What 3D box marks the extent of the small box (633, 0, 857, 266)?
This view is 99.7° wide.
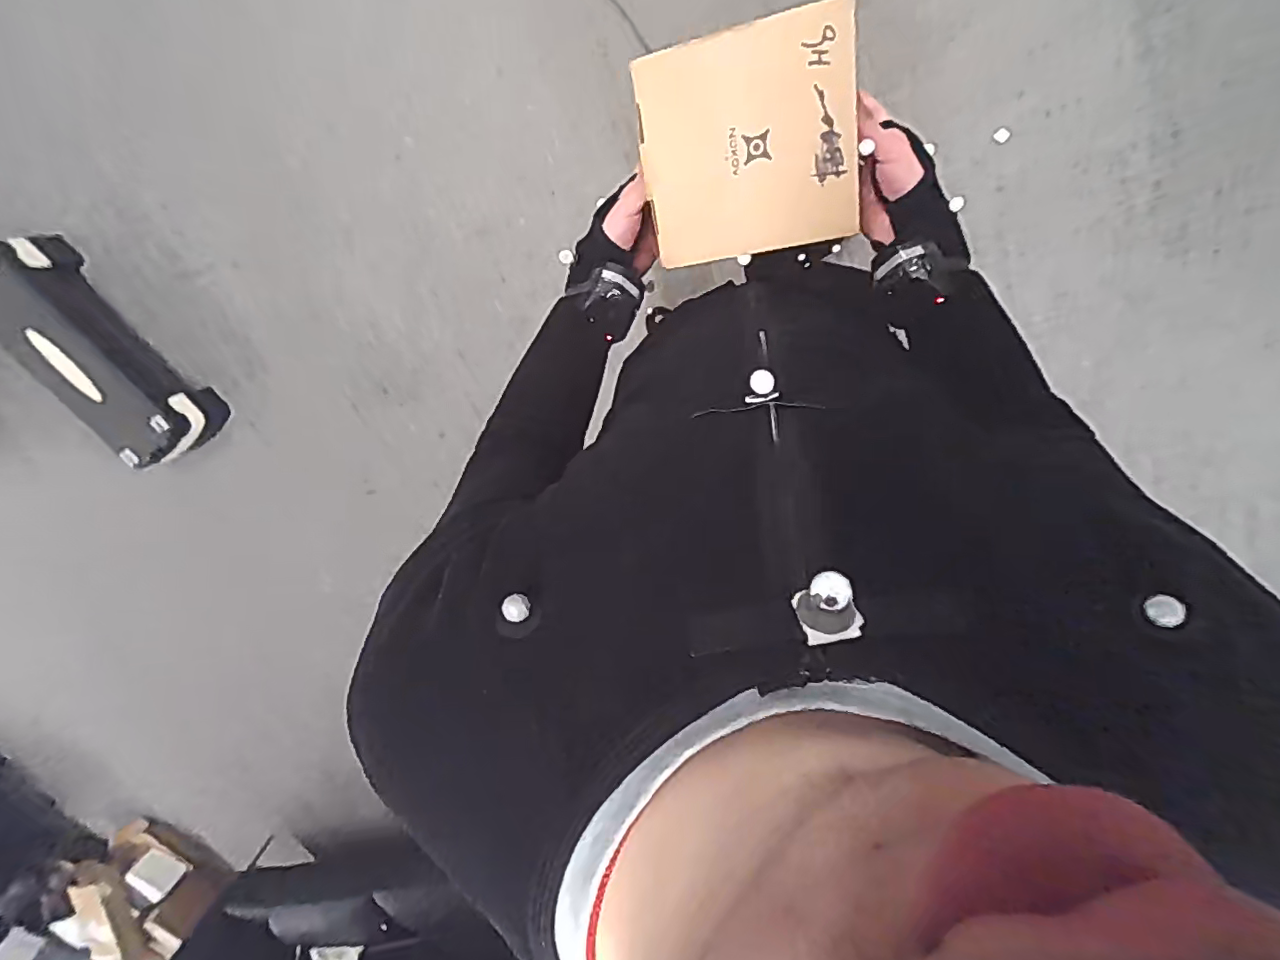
[{"bbox_3d":[0.109,-0.311,0.520,0.179,0.176,0.168,-2,116,17],"label":"small box"}]
